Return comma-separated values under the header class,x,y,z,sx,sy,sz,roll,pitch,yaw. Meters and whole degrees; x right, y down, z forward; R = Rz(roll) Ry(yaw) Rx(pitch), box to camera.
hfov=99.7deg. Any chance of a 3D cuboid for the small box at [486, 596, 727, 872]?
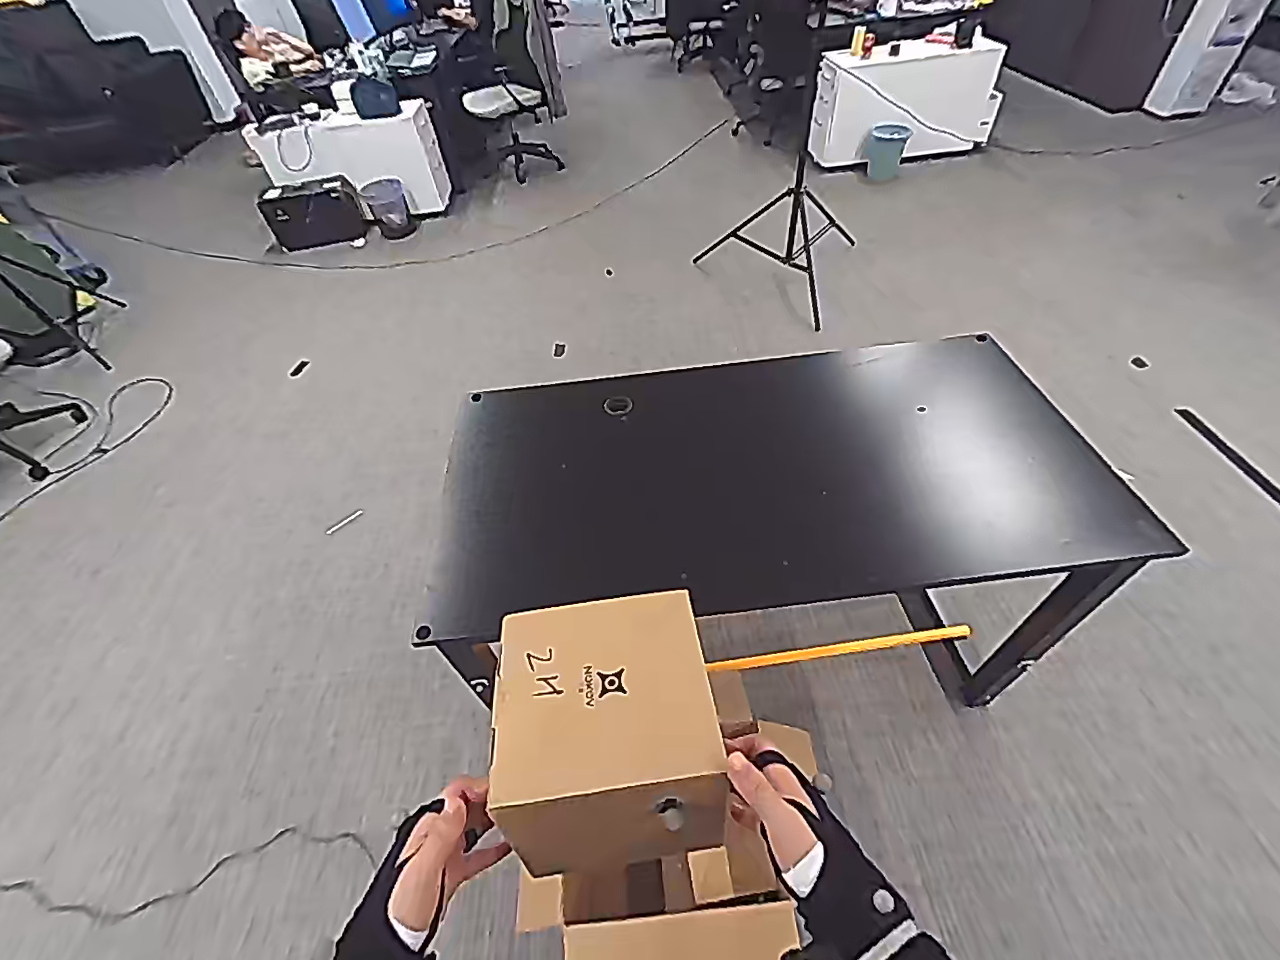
class,x,y,z,sx,sy,sz,roll,pitch,yaw
small box,-0.027,0.231,0.496,0.179,0.176,0.168,-7,40,-2
